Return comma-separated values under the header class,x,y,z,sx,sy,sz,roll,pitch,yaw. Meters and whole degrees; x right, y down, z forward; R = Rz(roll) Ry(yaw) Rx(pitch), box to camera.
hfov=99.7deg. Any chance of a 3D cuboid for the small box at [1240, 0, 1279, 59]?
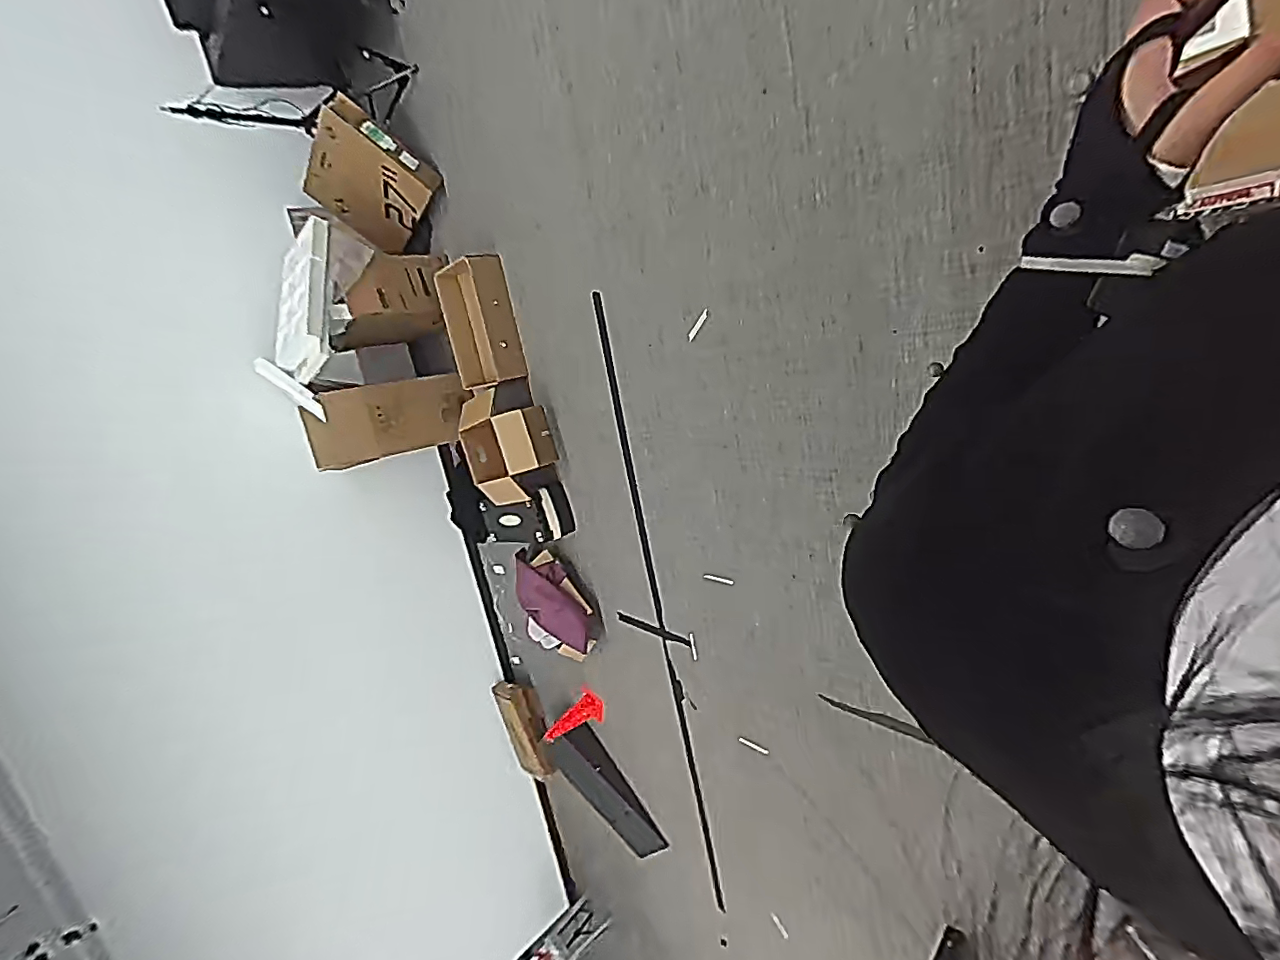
class,x,y,z,sx,sy,sz,roll,pitch,yaw
small box,0.422,-0.346,0.264,0.168,0.176,0.179,-3,106,54
